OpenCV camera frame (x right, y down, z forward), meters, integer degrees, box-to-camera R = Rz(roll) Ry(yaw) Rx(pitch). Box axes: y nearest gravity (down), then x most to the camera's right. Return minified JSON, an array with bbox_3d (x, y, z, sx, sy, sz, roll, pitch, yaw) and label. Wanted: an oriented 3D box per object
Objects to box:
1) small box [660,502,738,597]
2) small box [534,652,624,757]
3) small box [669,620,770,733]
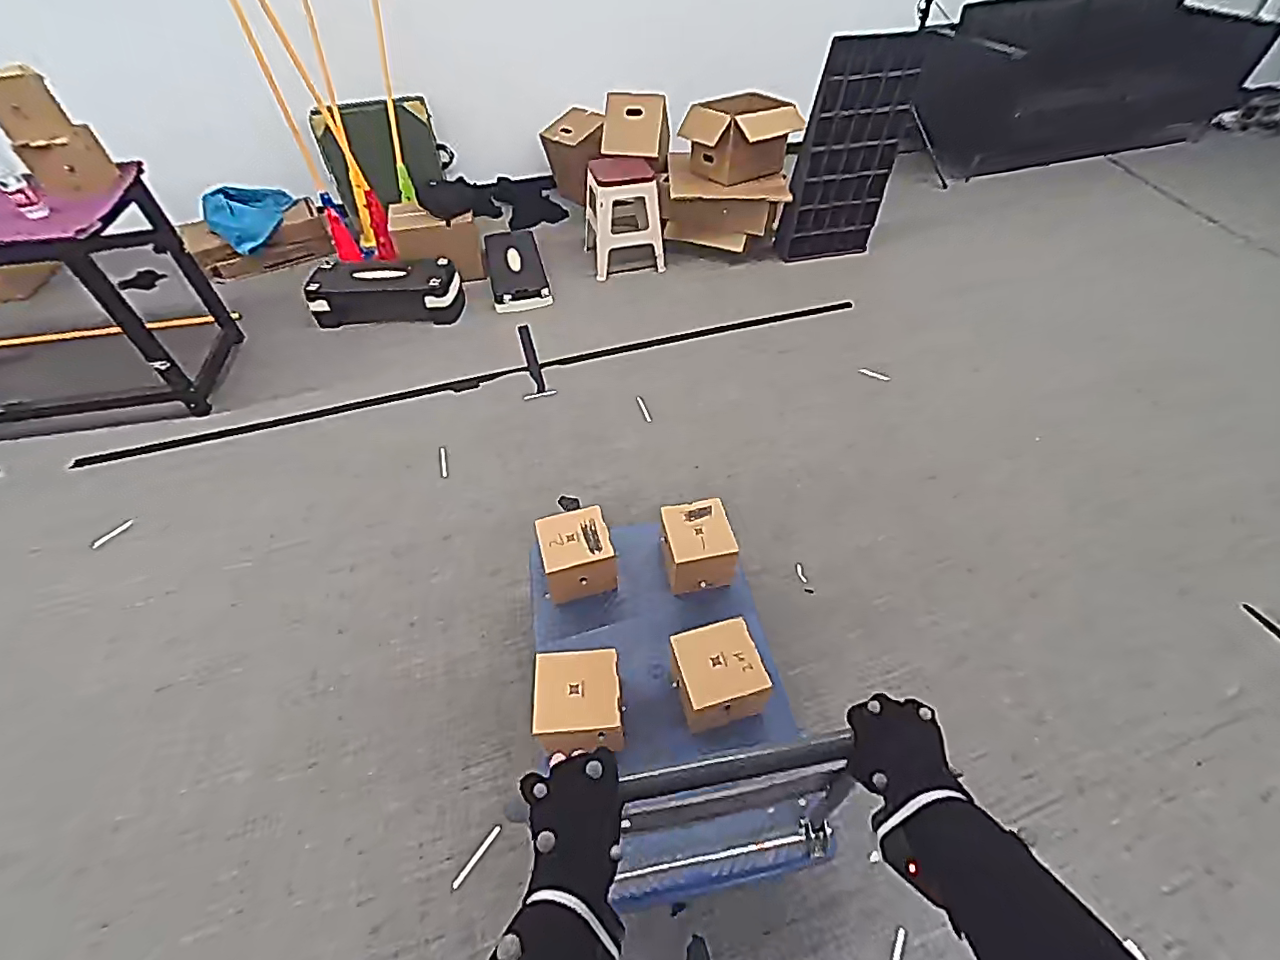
[{"bbox_3d":[0.149,0.187,1.446,0.168,0.176,0.179,-10,51,-7],"label":"small box"},{"bbox_3d":[-0.129,0.496,1.187,0.179,0.176,0.168,-3,49,-3],"label":"small box"},{"bbox_3d":[0.171,0.447,1.220,0.179,0.176,0.168,-13,50,-9],"label":"small box"}]
